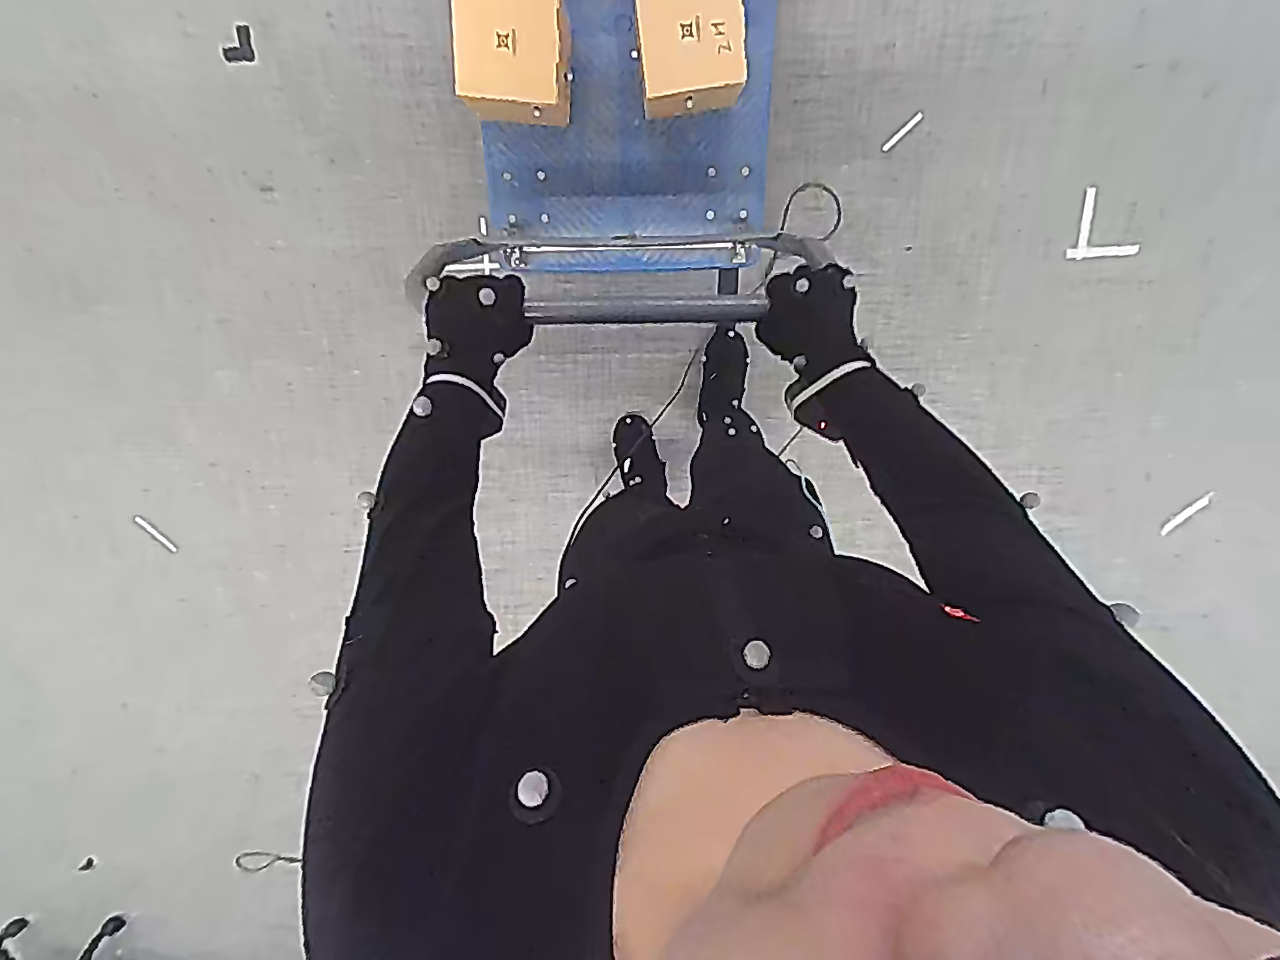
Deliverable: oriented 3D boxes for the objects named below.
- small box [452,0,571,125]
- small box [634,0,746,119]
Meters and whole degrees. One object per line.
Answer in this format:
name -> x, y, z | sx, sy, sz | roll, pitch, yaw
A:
small box -> -0.222, -0.754, 0.966 | 0.179, 0.176, 0.168 | 3, 112, -3
small box -> 0.086, -0.764, 0.960 | 0.179, 0.176, 0.168 | -7, 113, 3
